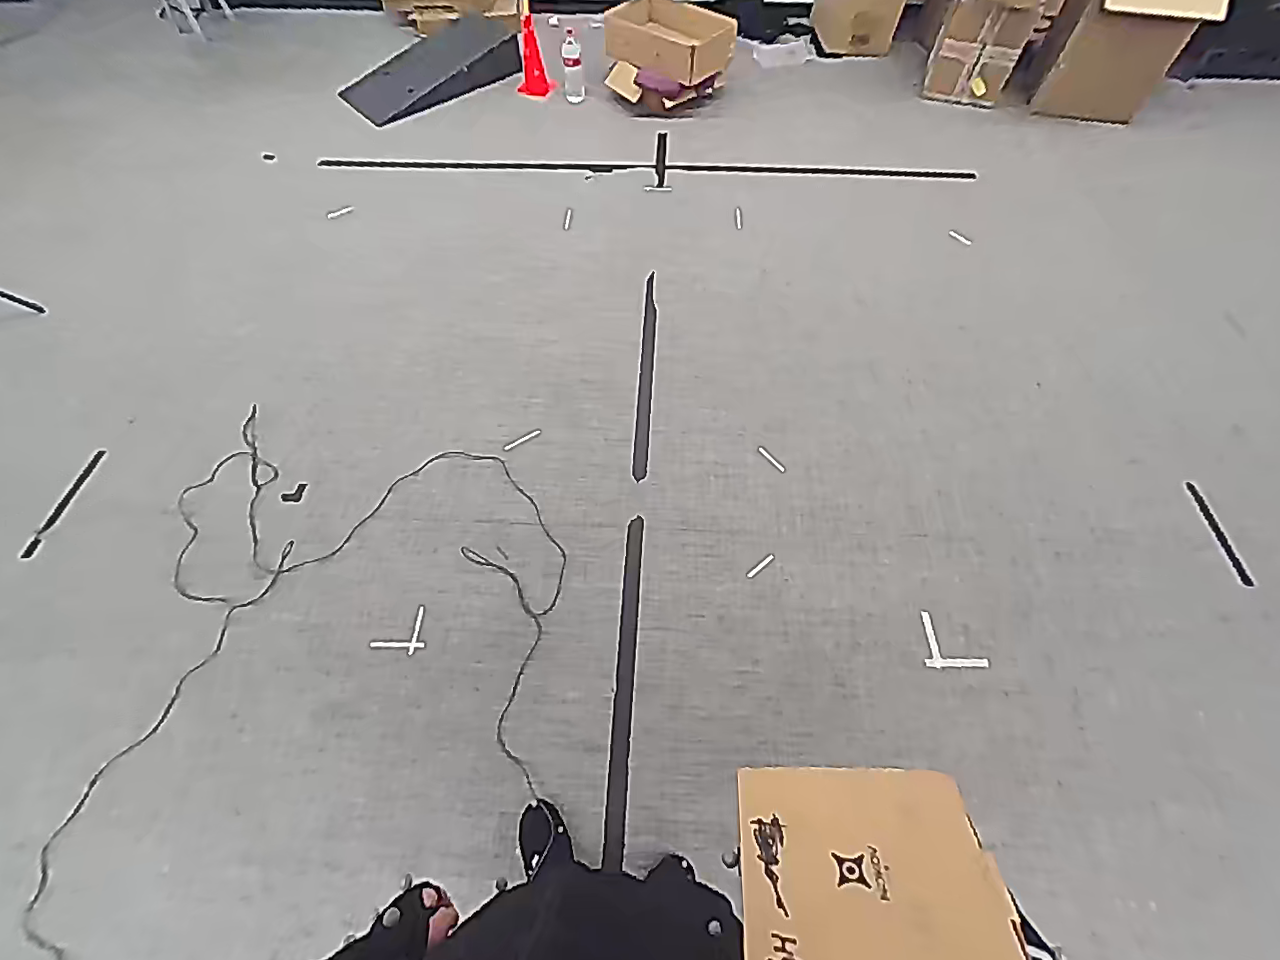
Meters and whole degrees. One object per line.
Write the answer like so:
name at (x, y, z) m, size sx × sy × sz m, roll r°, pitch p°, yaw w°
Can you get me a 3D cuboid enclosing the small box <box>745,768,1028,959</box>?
small box at (0.176, 0.362, 0.428) m, size 0.179 × 0.176 × 0.168 m, roll -3°, pitch 23°, yaw 10°
